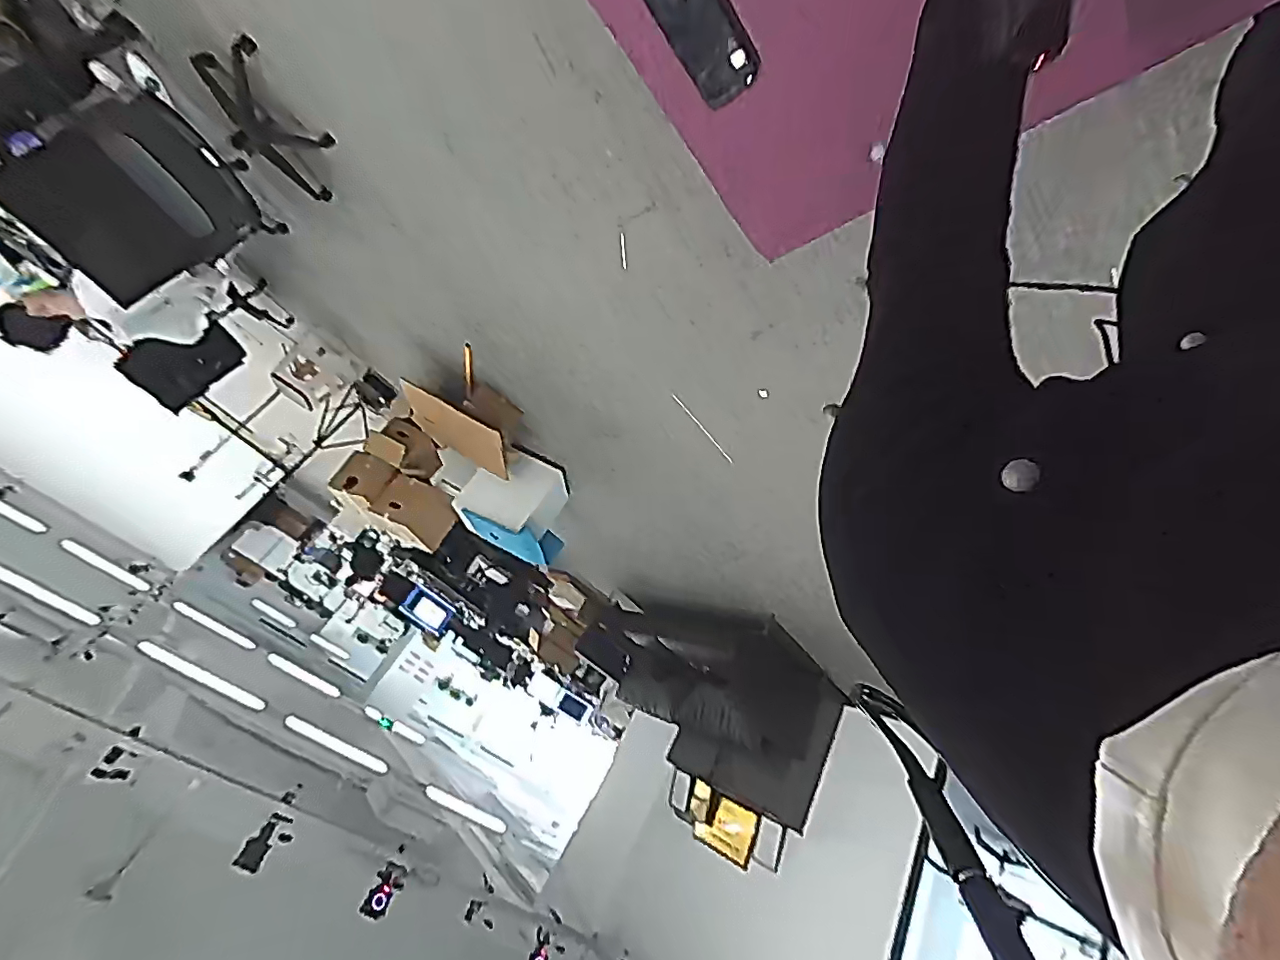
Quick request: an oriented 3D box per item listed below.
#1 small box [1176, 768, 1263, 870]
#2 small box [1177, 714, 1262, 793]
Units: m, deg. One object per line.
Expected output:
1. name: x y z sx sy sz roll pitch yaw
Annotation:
1. small box: 1.653 0.960 1.545 0.168 0.176 0.179 1 139 48
2. small box: 1.734 0.836 1.617 0.168 0.176 0.179 0 138 49
